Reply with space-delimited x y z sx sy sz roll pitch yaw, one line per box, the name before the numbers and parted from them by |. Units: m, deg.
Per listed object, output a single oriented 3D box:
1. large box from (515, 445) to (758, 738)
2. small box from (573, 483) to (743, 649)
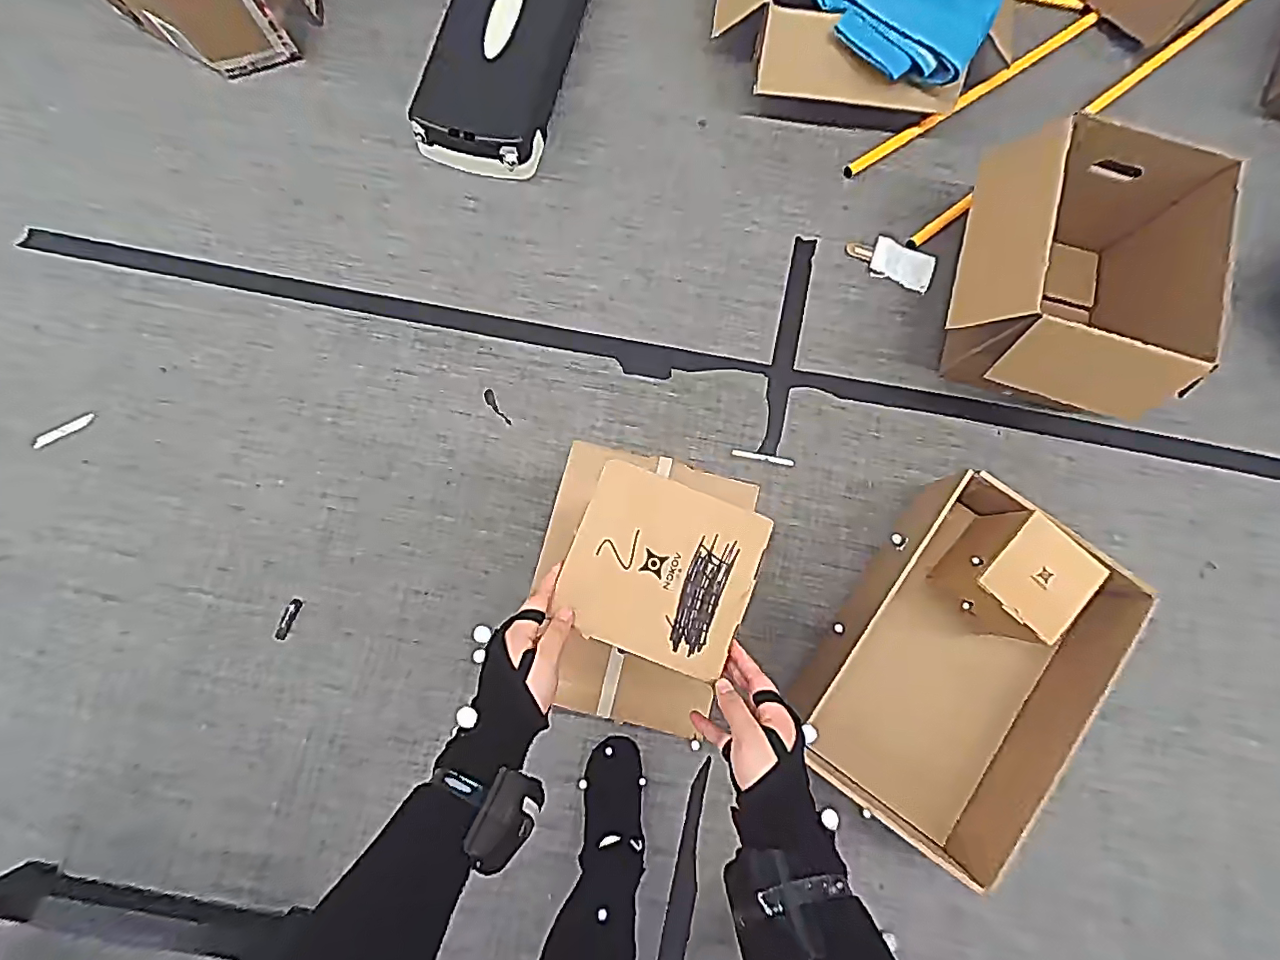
large box | -0.002 0.183 0.987 0.320 0.320 0.408 13 82 2
small box | 0.021 0.117 0.748 0.179 0.176 0.168 18 82 1
